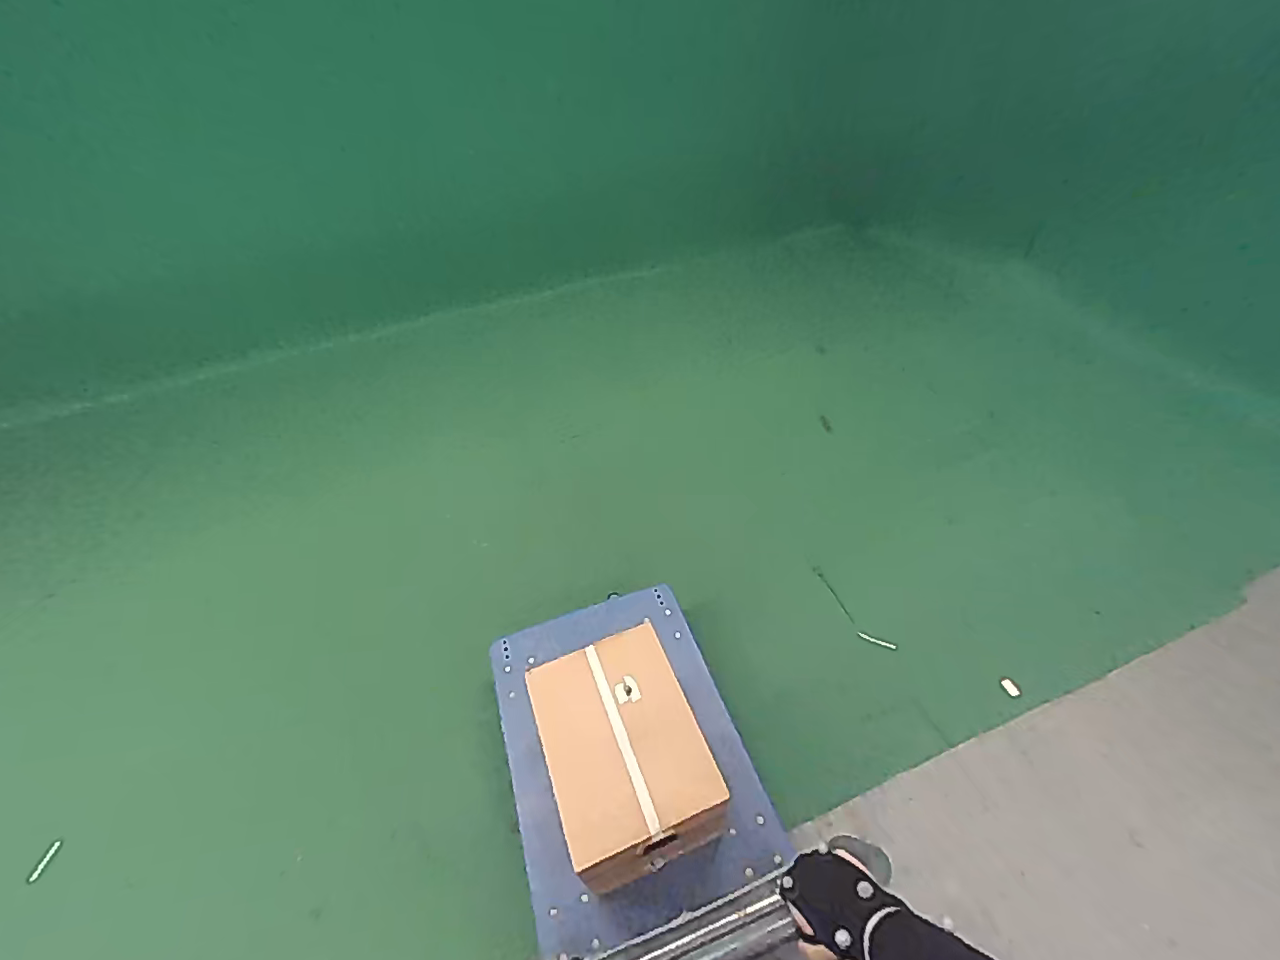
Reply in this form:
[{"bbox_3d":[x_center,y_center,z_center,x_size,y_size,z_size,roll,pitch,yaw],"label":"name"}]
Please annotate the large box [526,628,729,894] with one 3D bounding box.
[{"bbox_3d":[-0.029,0.629,1.233,0.320,0.320,0.408,-19,47,-12],"label":"large box"}]
